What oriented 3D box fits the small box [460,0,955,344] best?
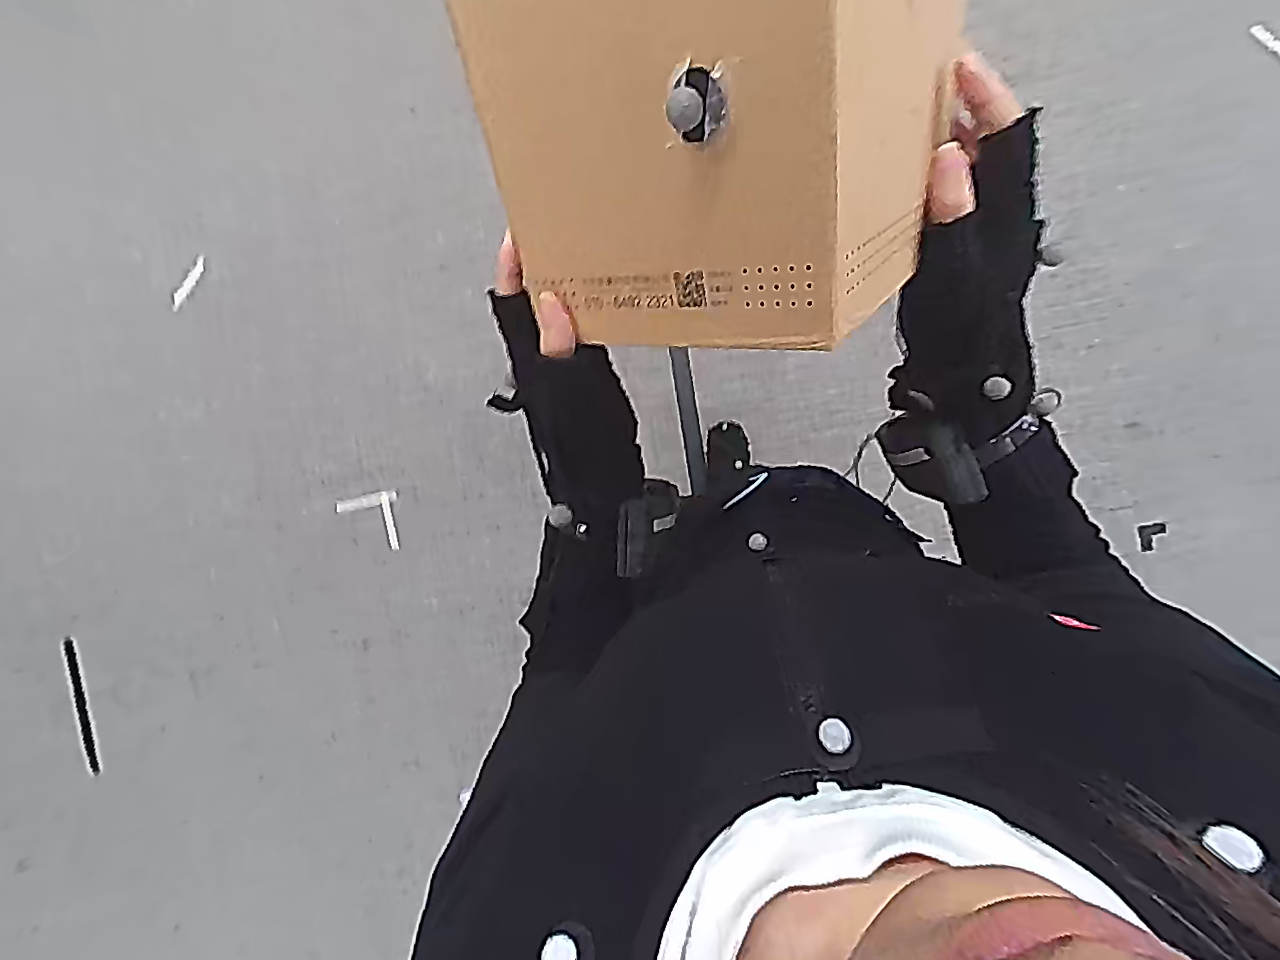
[{"bbox_3d":[0.050,-0.175,0.272,0.168,0.179,0.176,12,128,36],"label":"small box"}]
